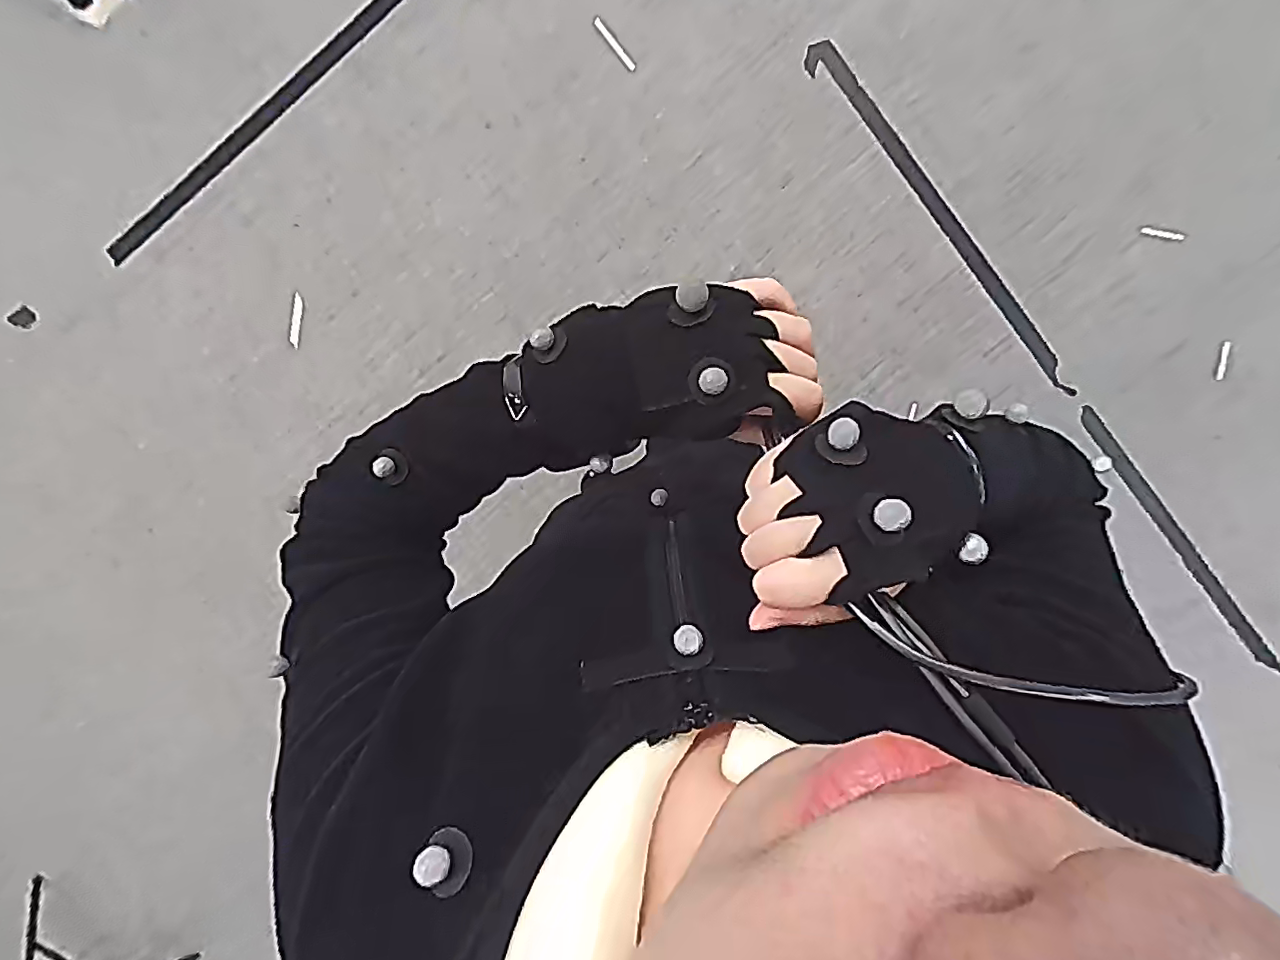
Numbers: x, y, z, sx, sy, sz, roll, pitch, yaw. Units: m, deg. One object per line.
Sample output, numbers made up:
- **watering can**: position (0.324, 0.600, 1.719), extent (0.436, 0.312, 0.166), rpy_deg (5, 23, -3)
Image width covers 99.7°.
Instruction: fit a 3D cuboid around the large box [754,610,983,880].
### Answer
- **large box**: position (0.491, 0.570, 1.228), extent (0.320, 0.320, 0.408), rpy_deg (-17, 97, 1)
